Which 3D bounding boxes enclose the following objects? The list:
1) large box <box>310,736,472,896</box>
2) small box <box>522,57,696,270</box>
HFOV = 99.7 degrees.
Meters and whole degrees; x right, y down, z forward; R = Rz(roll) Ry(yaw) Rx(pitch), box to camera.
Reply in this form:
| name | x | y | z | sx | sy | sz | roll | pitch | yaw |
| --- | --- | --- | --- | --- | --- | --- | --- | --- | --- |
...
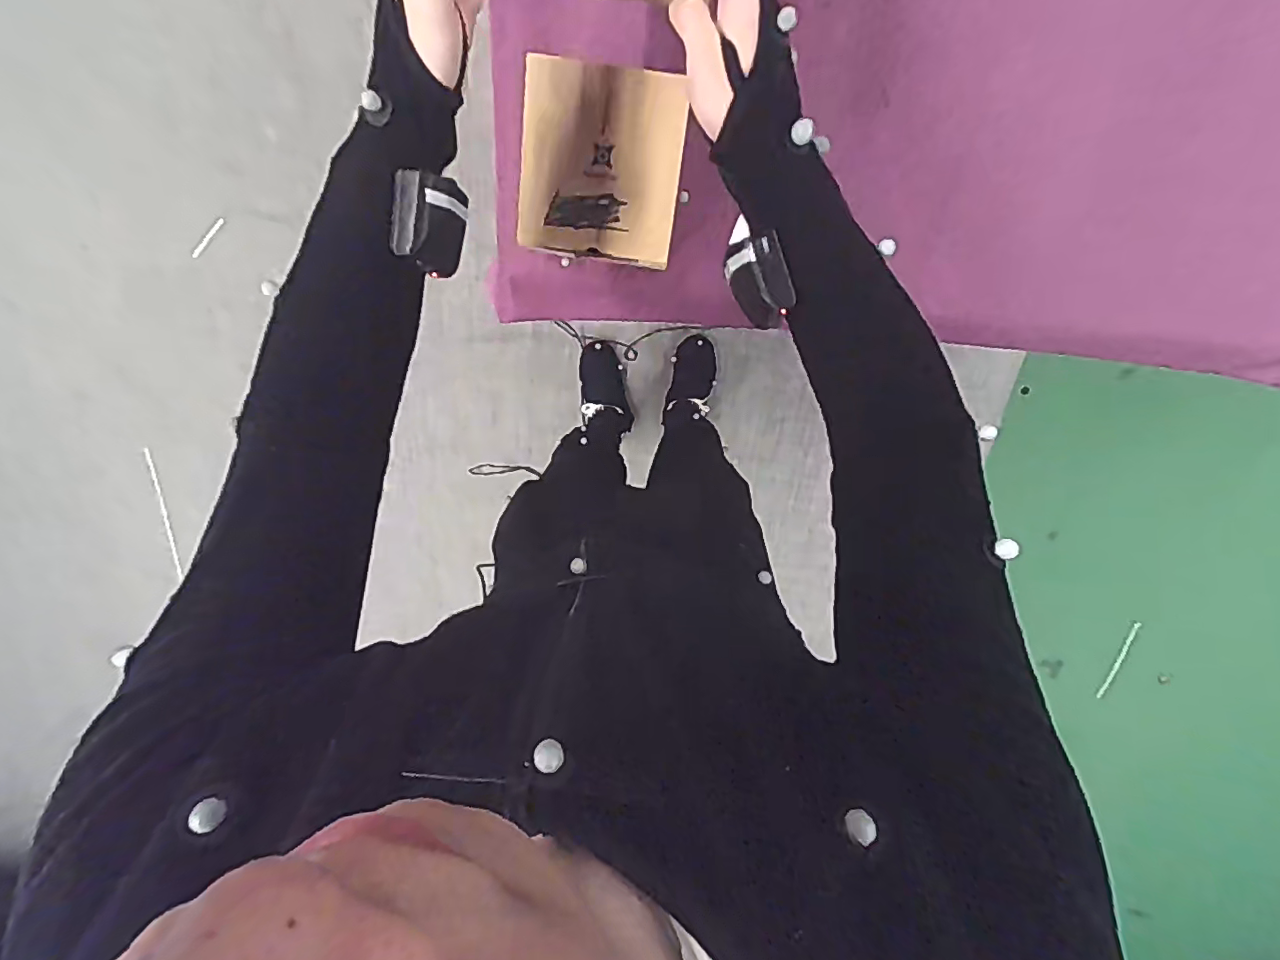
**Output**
| name | x | y | z | sx | sy | sz | roll | pitch | yaw |
| --- | --- | --- | --- | --- | --- | --- | --- | --- | --- |
| large box | -0.906 | 1.232 | 2.002 | 0.408 | 0.320 | 0.320 | 28 | 110 | -9 |
| small box | -0.033 | -0.348 | 0.631 | 0.168 | 0.176 | 0.179 | 8 | 110 | -1 |
